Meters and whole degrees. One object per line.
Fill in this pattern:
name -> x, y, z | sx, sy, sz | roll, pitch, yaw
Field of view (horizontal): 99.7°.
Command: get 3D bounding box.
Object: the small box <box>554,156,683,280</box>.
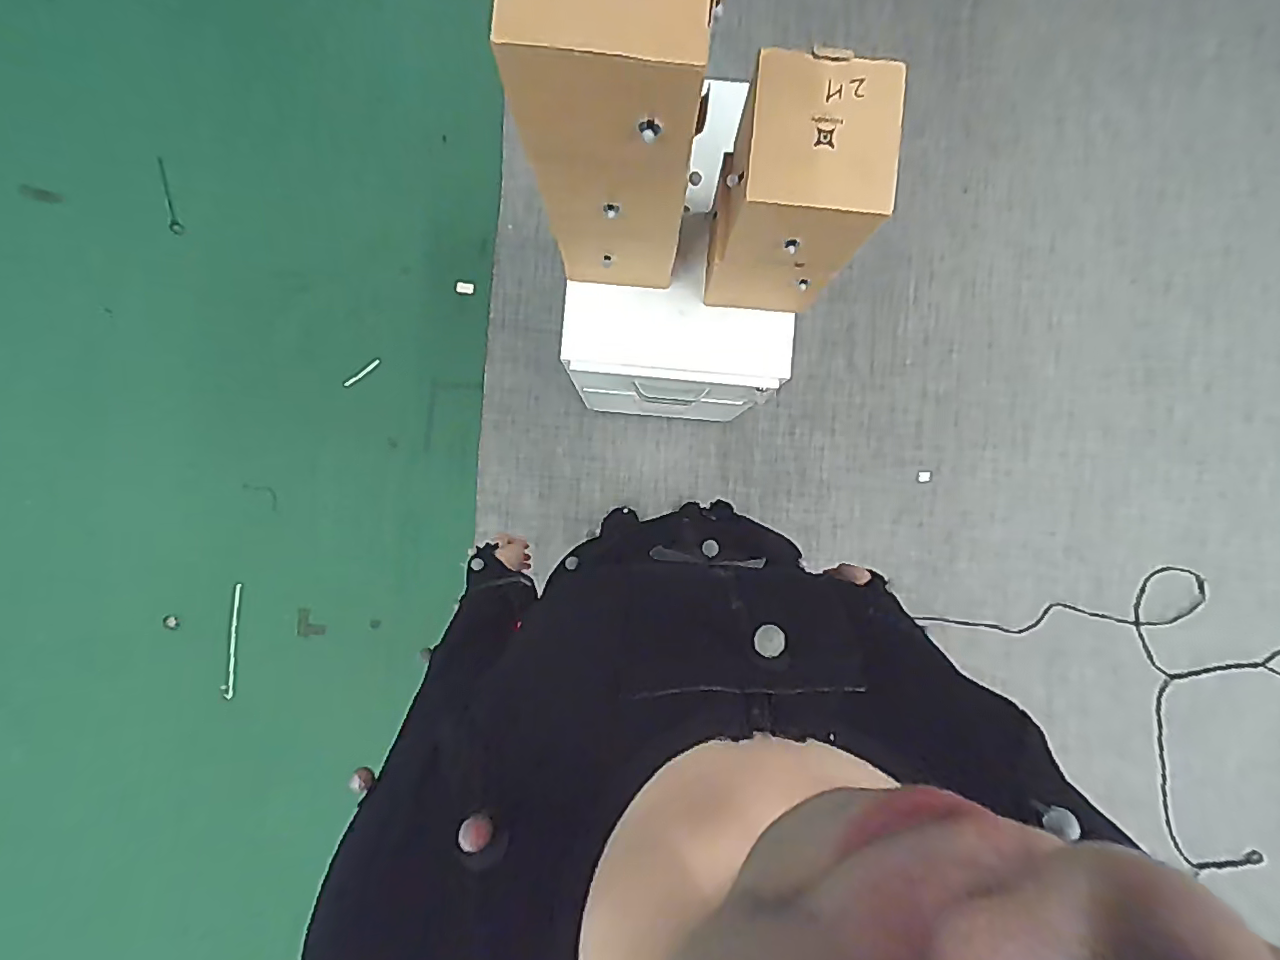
small box -> -0.031, -0.424, 0.839 | 0.179, 0.176, 0.168 | 4, 90, -2

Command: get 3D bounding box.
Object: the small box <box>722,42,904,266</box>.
small box -> 0.202, -0.389, 0.676 | 0.168, 0.176, 0.179 | 6, 89, -1

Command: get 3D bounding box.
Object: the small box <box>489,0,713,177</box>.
small box -> -0.028, -0.417, 0.510 | 0.179, 0.176, 0.168 | 5, 88, -1
